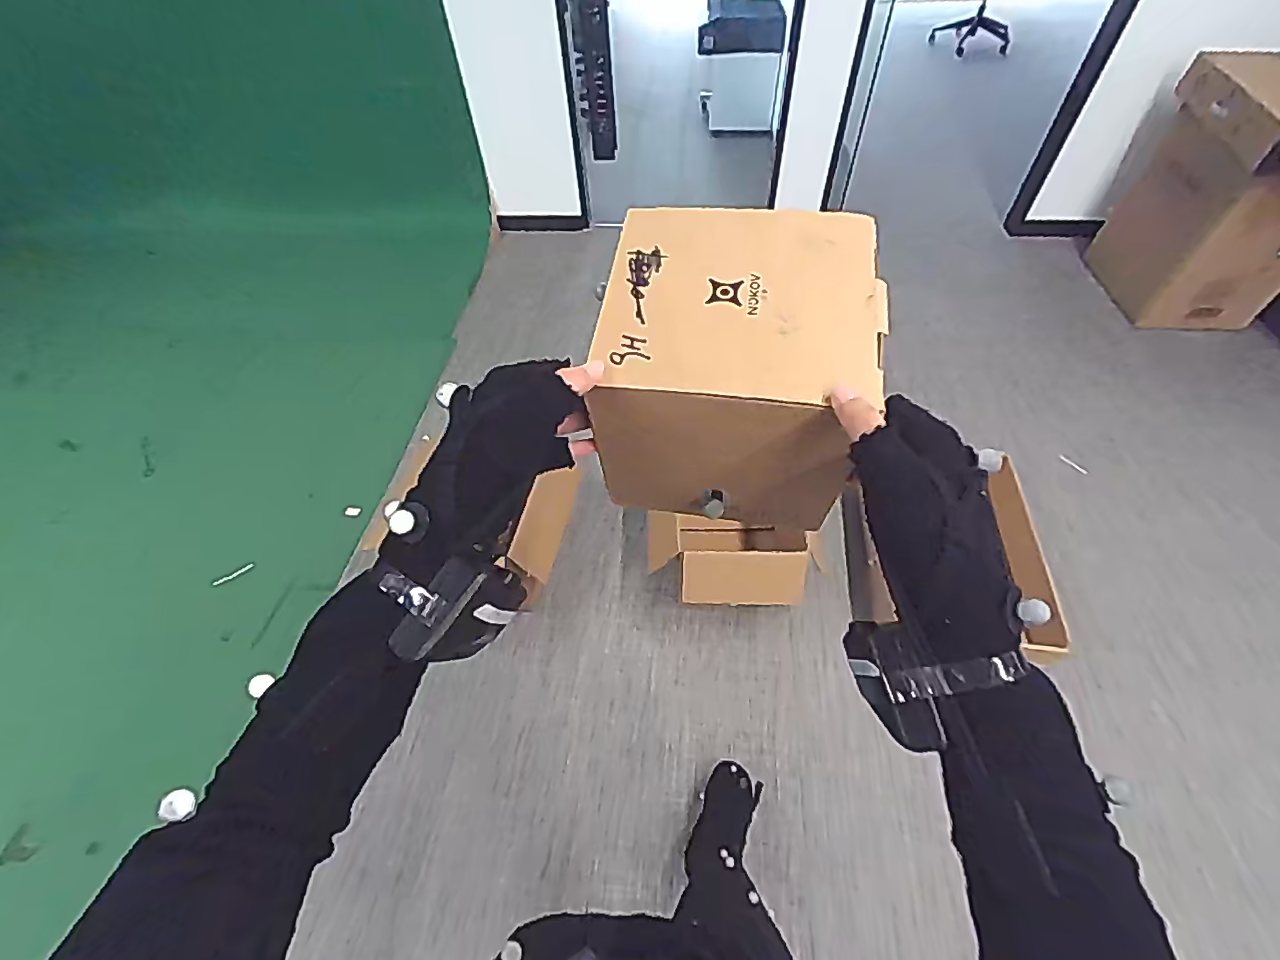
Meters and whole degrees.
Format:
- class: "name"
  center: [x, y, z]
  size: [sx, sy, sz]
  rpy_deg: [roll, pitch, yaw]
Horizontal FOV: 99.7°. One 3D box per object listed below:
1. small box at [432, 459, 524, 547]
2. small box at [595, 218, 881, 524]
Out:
- class: "small box"
  center: [-0.432, 0.067, 1.480]
  size: [0.179, 0.176, 0.168]
  rpy_deg: [8, 51, 7]
- class: "small box"
  center: [0.073, -0.077, 0.434]
  size: [0.179, 0.176, 0.168]
  rpy_deg: [8, 61, 7]
